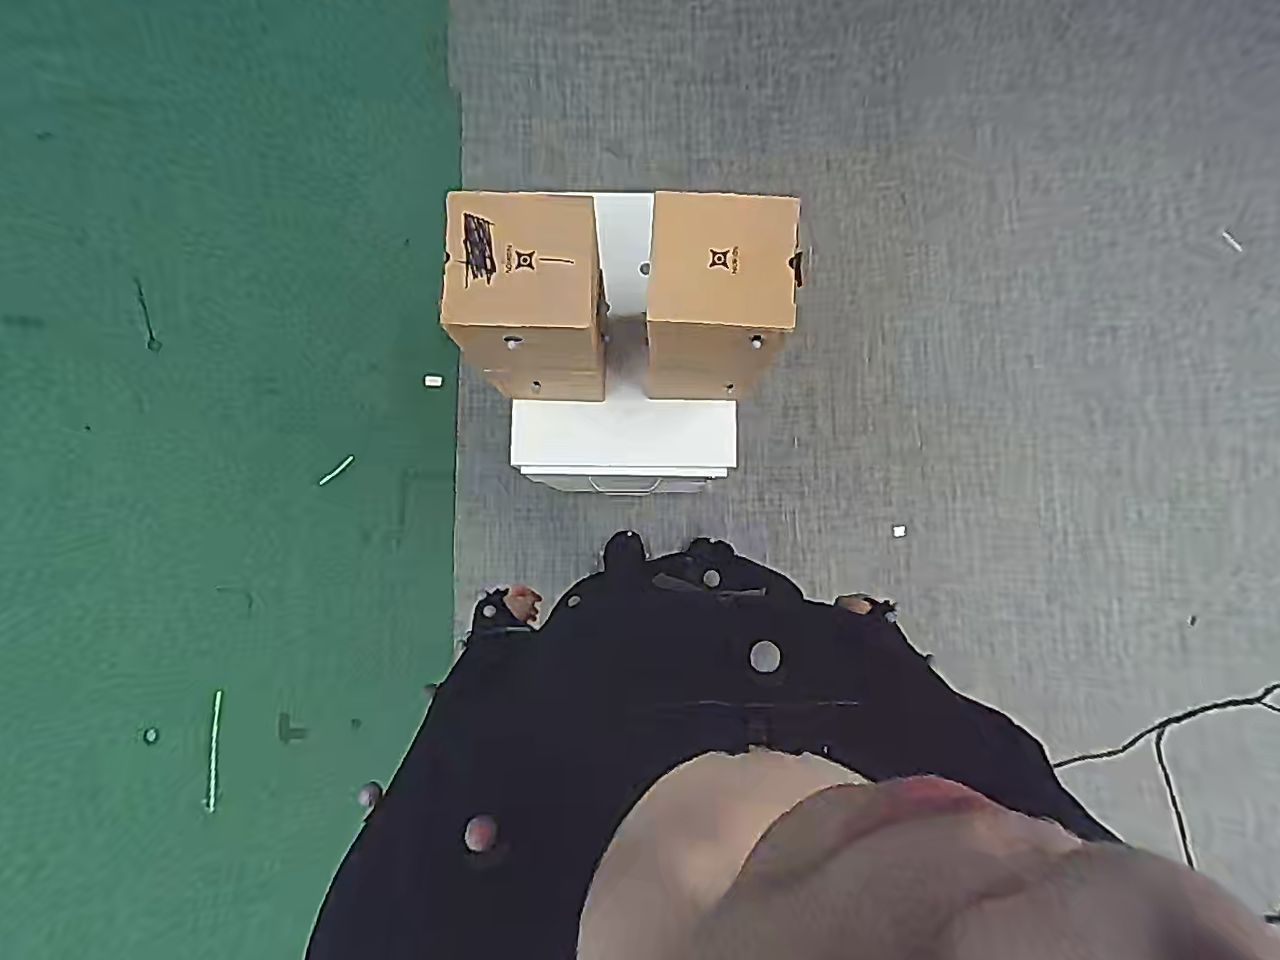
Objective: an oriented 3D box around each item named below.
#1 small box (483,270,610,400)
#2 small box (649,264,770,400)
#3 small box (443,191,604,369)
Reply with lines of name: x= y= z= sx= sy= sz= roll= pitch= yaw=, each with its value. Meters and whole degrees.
small box: x=-0.141 y=-0.229 z=0.874 sx=0.179 sy=0.176 sz=0.168 roll=1 pitch=85 yaw=-1
small box: x=0.105 y=-0.230 z=0.874 sx=0.179 sy=0.176 sz=0.168 roll=1 pitch=84 yaw=2
small box: x=-0.140 y=-0.249 z=0.709 sx=0.179 sy=0.176 sz=0.168 roll=1 pitch=85 yaw=-2
